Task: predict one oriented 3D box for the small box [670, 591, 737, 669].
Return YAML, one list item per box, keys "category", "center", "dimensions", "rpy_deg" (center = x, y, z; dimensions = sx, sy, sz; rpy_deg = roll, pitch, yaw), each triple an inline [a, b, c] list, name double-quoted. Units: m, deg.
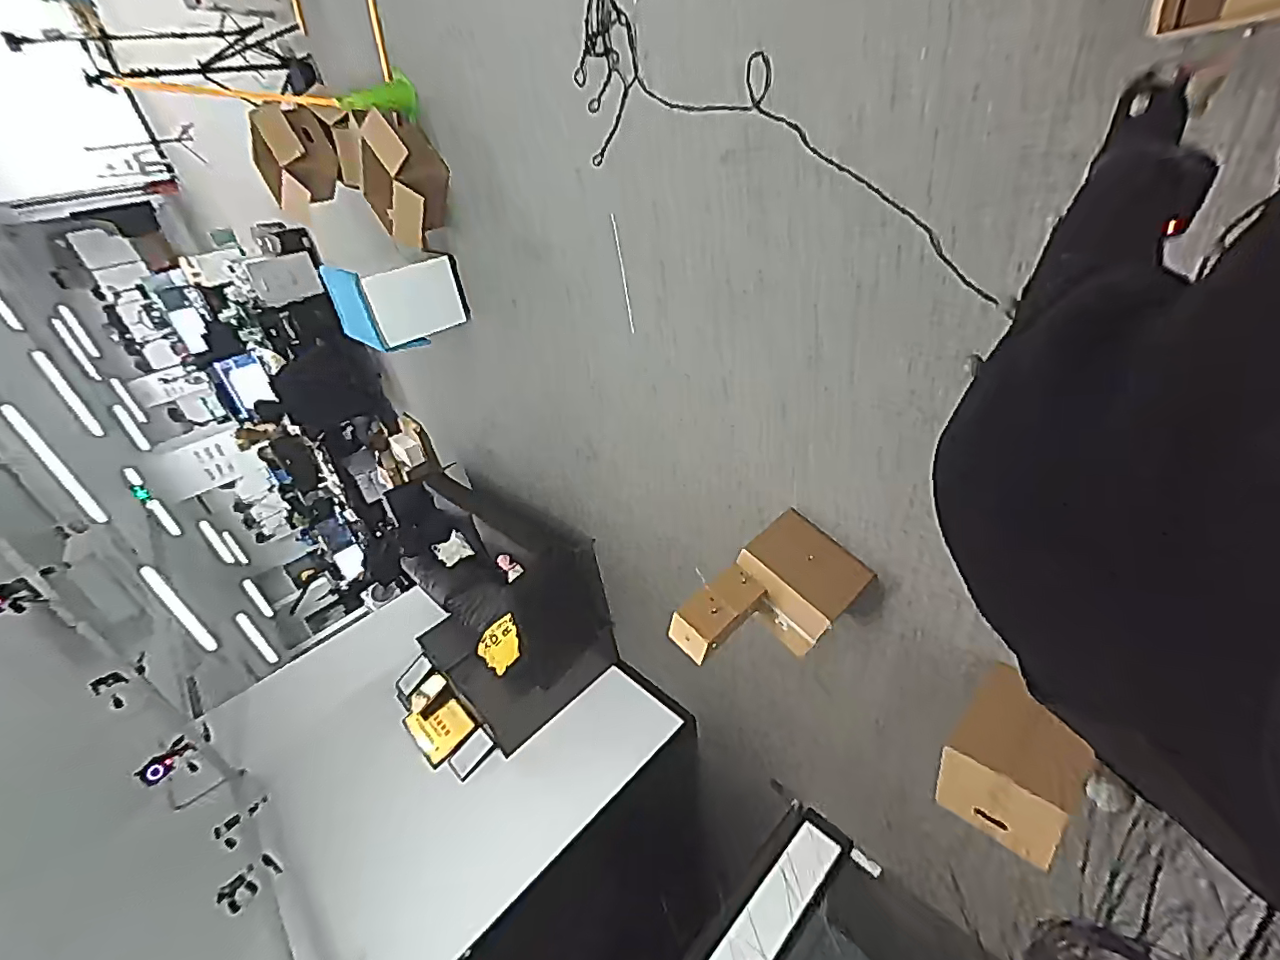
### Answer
- category: "small box"
  center: [0.232, 0.545, 1.971]
  dimensions: [0.168, 0.176, 0.179]
  rpy_deg: [39, 143, 28]
